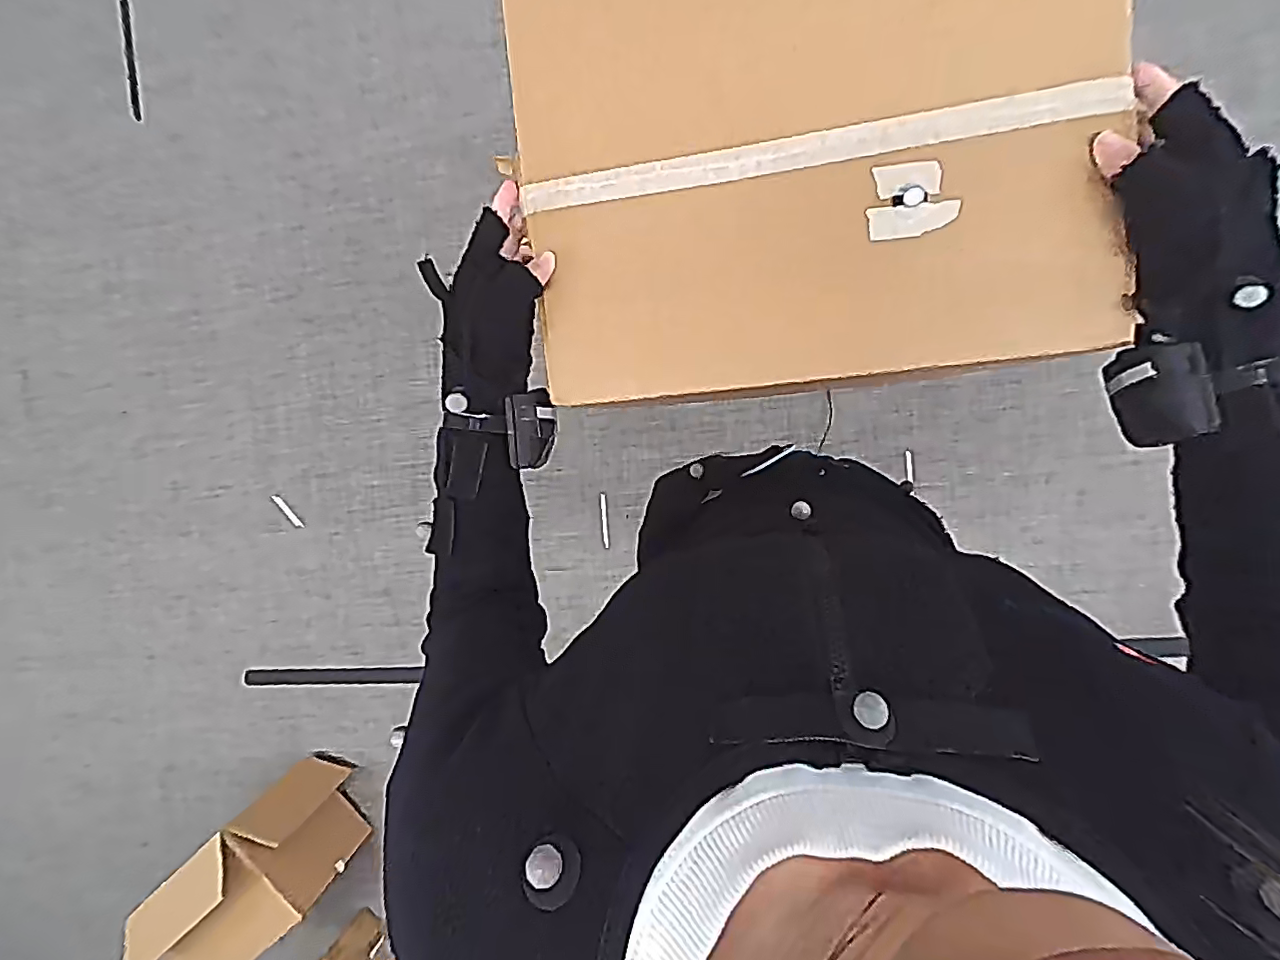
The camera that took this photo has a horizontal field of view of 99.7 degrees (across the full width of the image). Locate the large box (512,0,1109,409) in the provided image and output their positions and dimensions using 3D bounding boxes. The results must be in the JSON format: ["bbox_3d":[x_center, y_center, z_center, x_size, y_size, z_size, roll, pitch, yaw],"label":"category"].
[{"bbox_3d":[0.133,-0.249,0.537,0.408,0.320,0.320,-5,97,8],"label":"large box"}]
